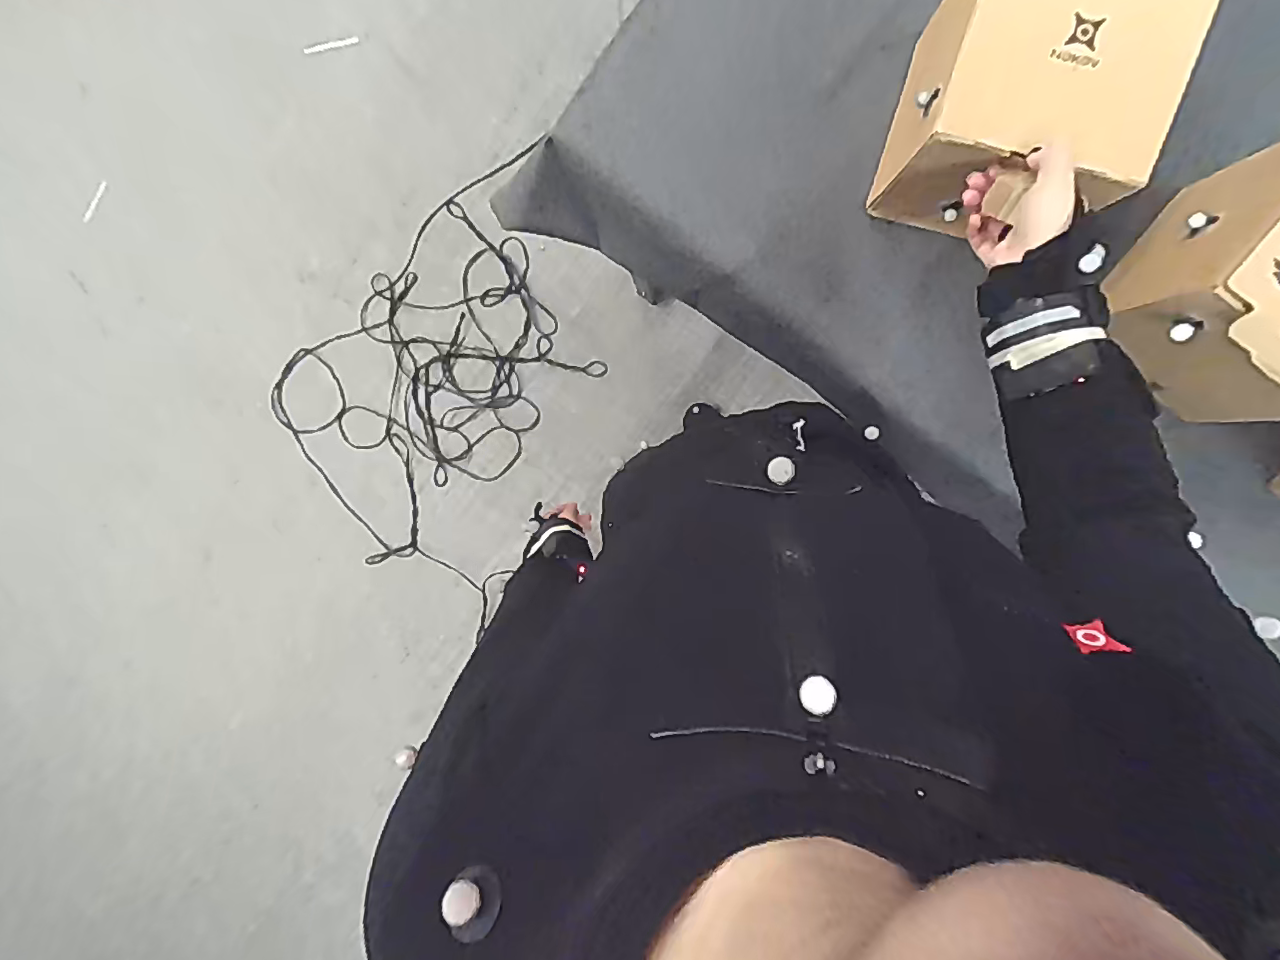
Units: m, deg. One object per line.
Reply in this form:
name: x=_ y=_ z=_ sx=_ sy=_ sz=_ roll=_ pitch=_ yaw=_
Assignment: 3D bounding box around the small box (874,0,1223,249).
small box: x=0.333 y=-0.332 z=0.478 sx=0.168 sy=0.176 sz=0.179 roll=15 pitch=100 yaw=3
